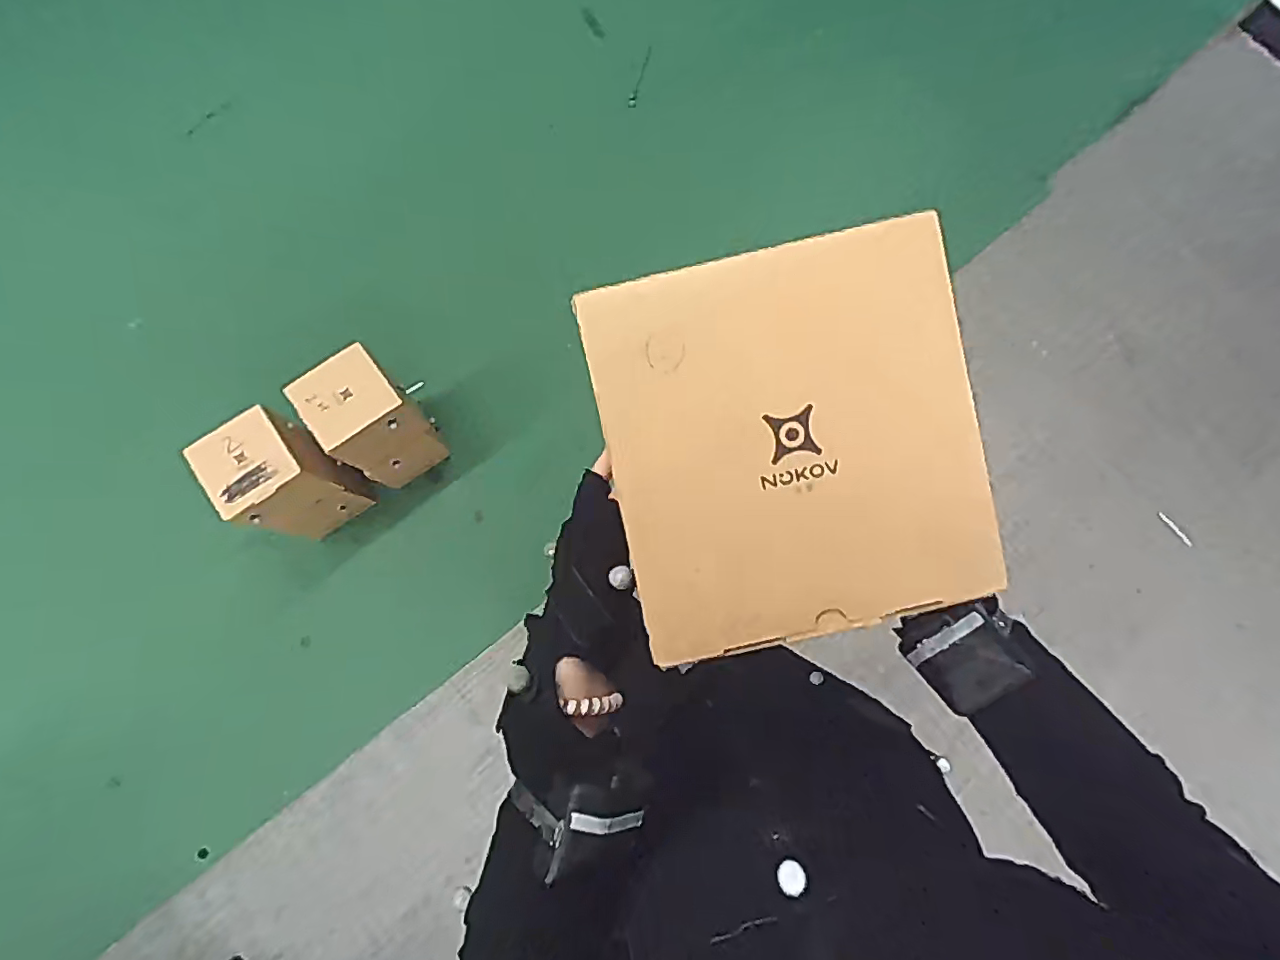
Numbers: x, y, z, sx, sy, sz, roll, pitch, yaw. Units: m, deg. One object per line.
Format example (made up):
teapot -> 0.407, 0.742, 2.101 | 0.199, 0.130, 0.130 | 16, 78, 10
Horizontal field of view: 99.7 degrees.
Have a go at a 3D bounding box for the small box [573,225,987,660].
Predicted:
small box -> 0.065, -0.020, 0.331 | 0.168, 0.176, 0.179 | -14, 94, 1

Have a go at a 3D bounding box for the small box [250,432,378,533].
small box -> -0.766, 0.014, 1.292 | 0.168, 0.176, 0.179 | -34, 82, -7
